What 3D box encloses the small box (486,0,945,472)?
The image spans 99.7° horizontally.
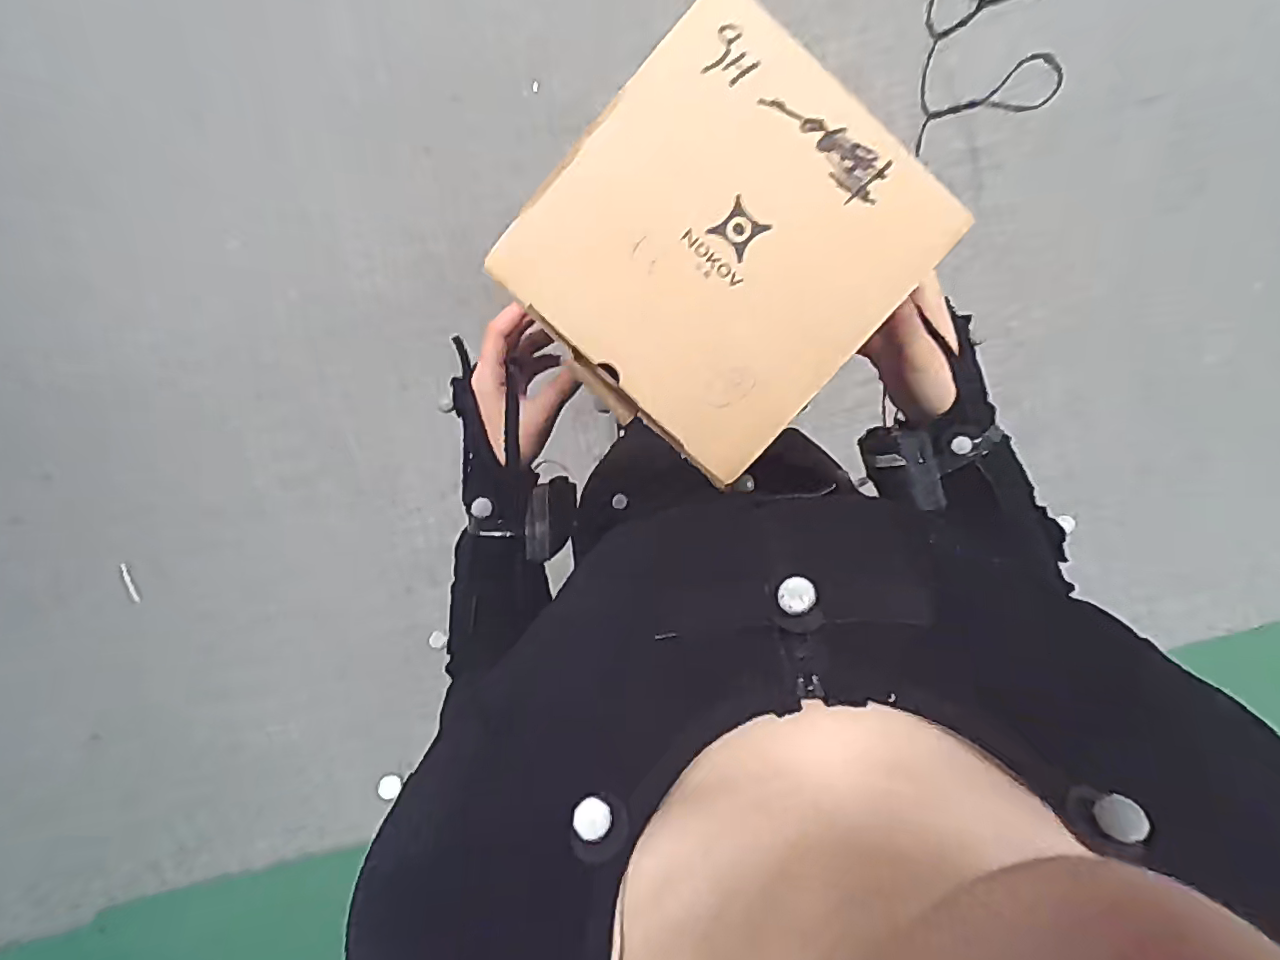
[{"bbox_3d":[0.039,-0.128,0.351,0.168,0.176,0.179,41,96,-3],"label":"small box"}]
